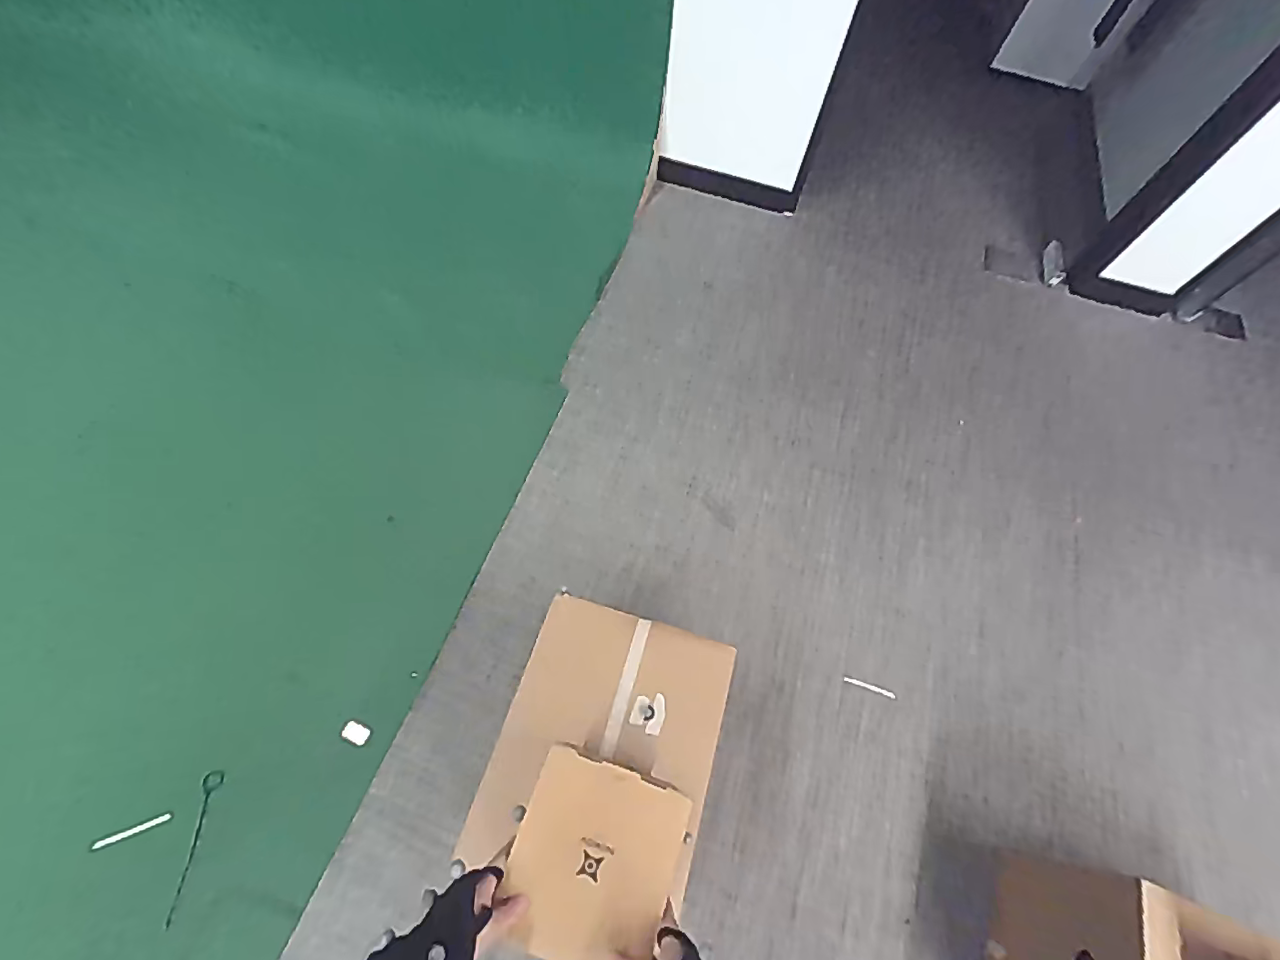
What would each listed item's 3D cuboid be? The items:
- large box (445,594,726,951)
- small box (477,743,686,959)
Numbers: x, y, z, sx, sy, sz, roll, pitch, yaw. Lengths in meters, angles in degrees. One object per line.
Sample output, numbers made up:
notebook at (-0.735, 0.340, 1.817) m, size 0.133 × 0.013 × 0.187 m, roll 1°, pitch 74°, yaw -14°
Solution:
large box at (-0.070, 0.467, 0.923) m, size 0.320 × 0.320 × 0.408 m, roll 18°, pitch 62°, yaw 5°
small box at (-0.057, 0.425, 0.621) m, size 0.168 × 0.176 × 0.179 m, roll 20°, pitch 63°, yaw 7°
